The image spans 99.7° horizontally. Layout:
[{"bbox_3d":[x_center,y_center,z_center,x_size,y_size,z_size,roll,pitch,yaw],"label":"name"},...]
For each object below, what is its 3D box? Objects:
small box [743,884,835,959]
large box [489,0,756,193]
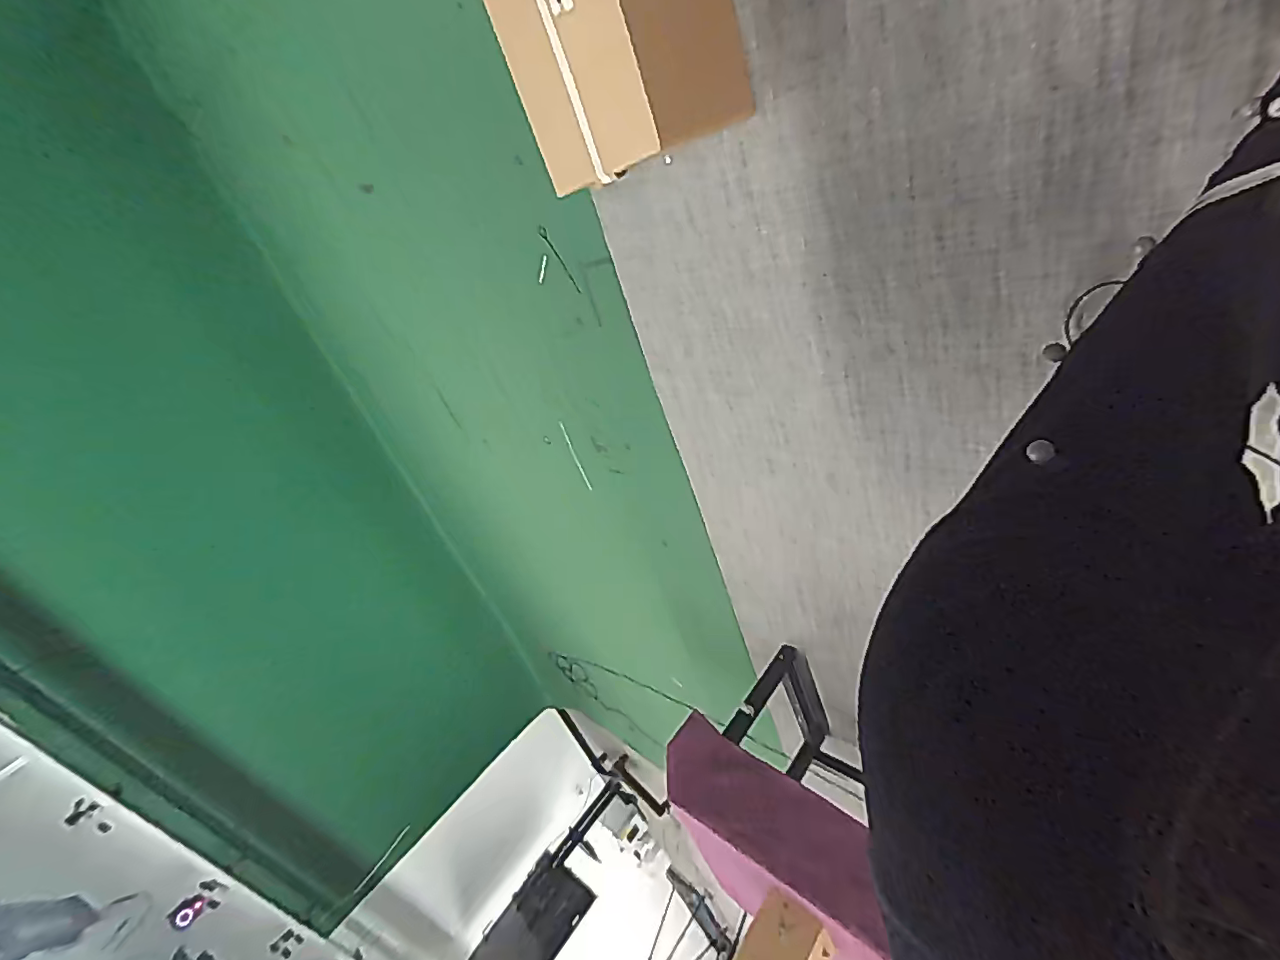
[{"bbox_3d":[0.415,1.274,1.493,0.168,0.176,0.179,10,131,46],"label":"small box"},{"bbox_3d":[-0.031,-0.827,1.016,0.320,0.320,0.408,10,131,46],"label":"large box"}]
